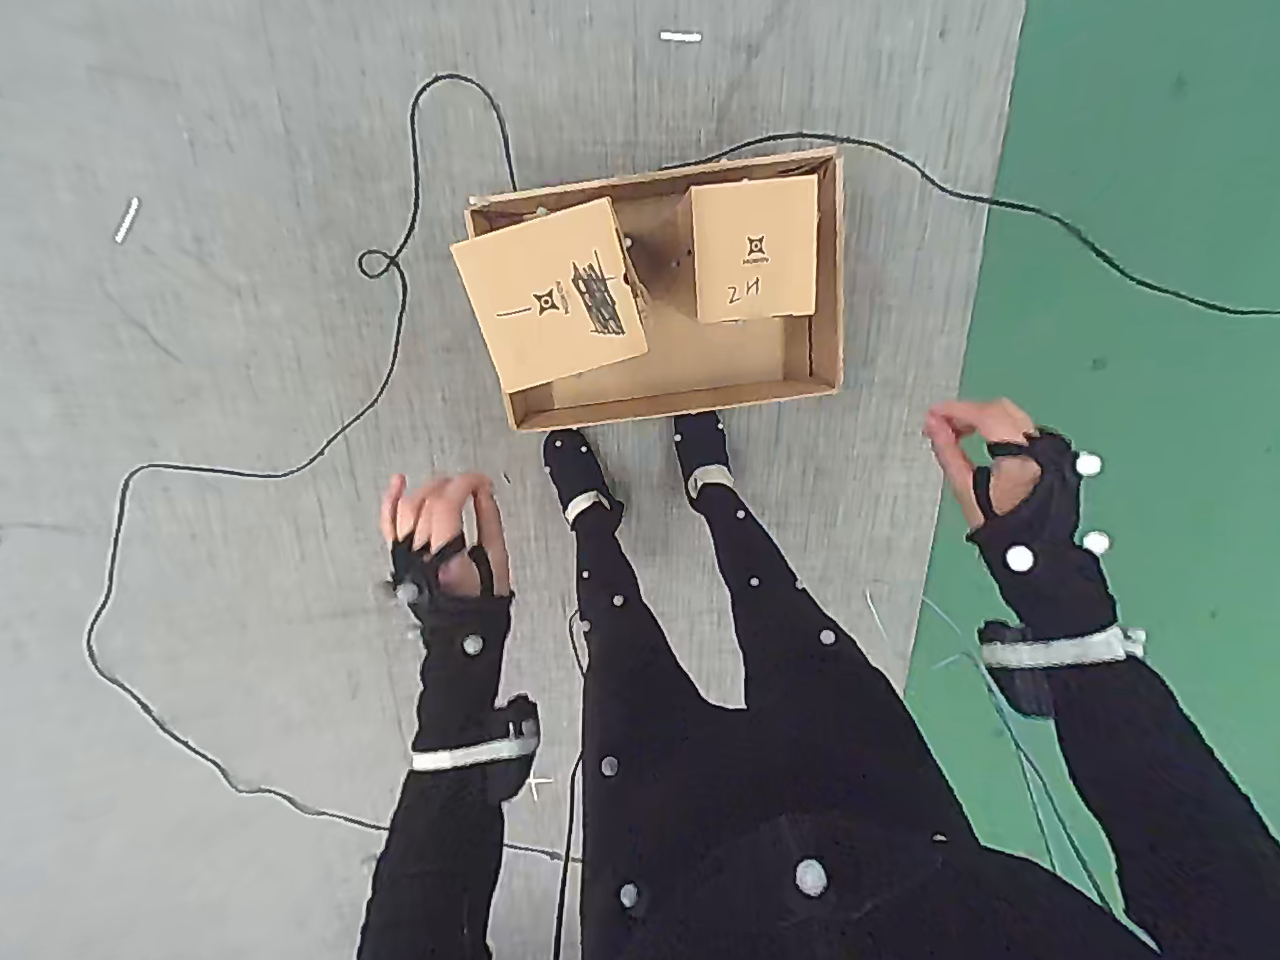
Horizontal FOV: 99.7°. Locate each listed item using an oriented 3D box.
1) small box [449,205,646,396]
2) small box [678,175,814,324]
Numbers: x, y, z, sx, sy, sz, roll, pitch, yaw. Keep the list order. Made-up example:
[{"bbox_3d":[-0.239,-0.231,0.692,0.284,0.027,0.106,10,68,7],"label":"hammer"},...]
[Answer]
[{"bbox_3d":[-0.101,-0.219,0.662,0.179,0.176,0.168,-16,110,4],"label":"small box"},{"bbox_3d":[0.148,-0.331,0.798,0.168,0.176,0.179,-5,110,1],"label":"small box"}]
